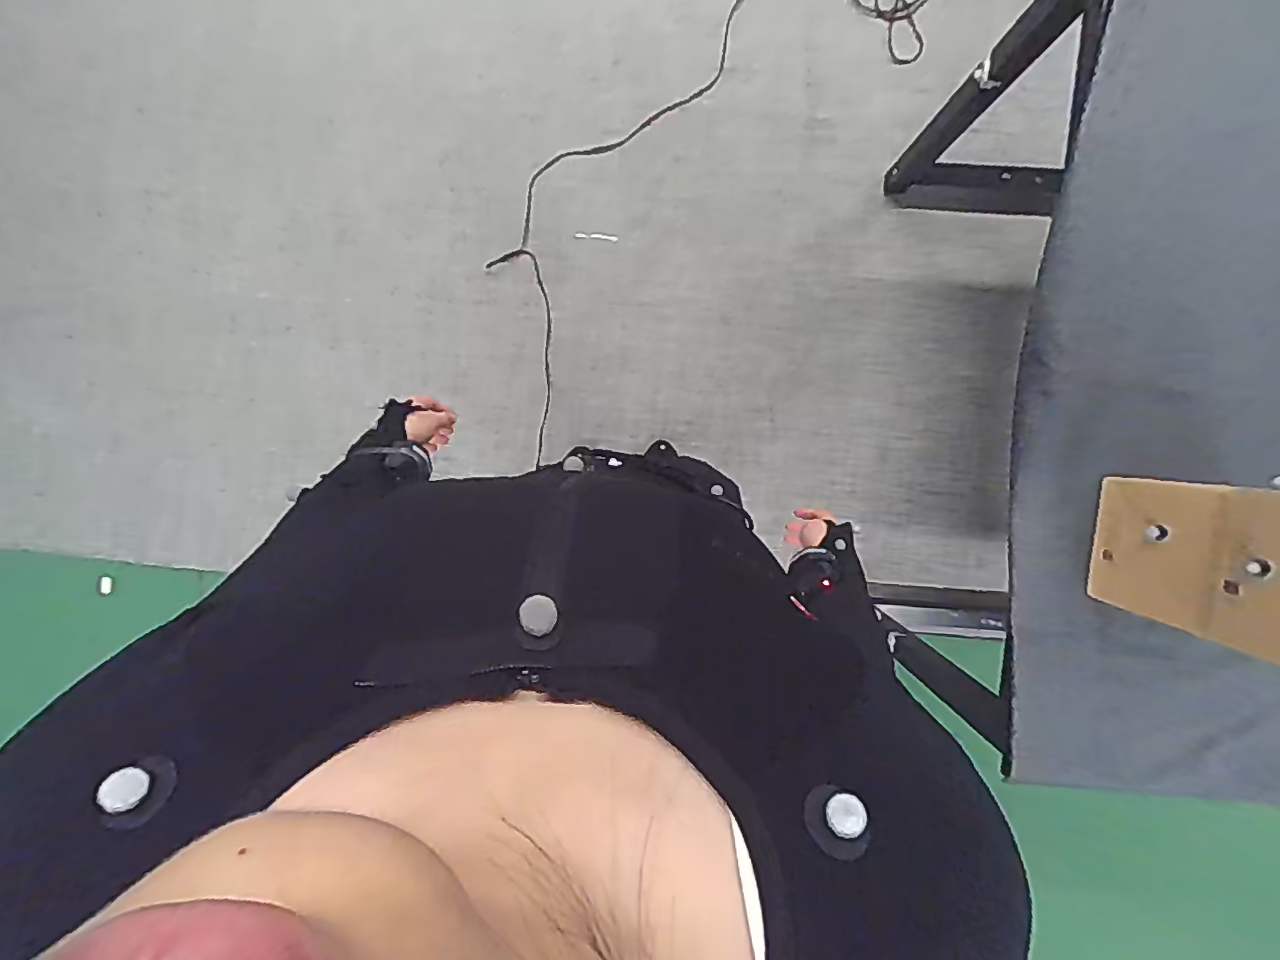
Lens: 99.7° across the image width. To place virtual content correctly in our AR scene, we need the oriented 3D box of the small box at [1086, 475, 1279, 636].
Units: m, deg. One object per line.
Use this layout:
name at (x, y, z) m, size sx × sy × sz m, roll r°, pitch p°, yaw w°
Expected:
small box at (0.700, 0.084, 0.660) m, size 0.179 × 0.176 × 0.168 m, roll 4°, pitch 94°, yaw -1°
